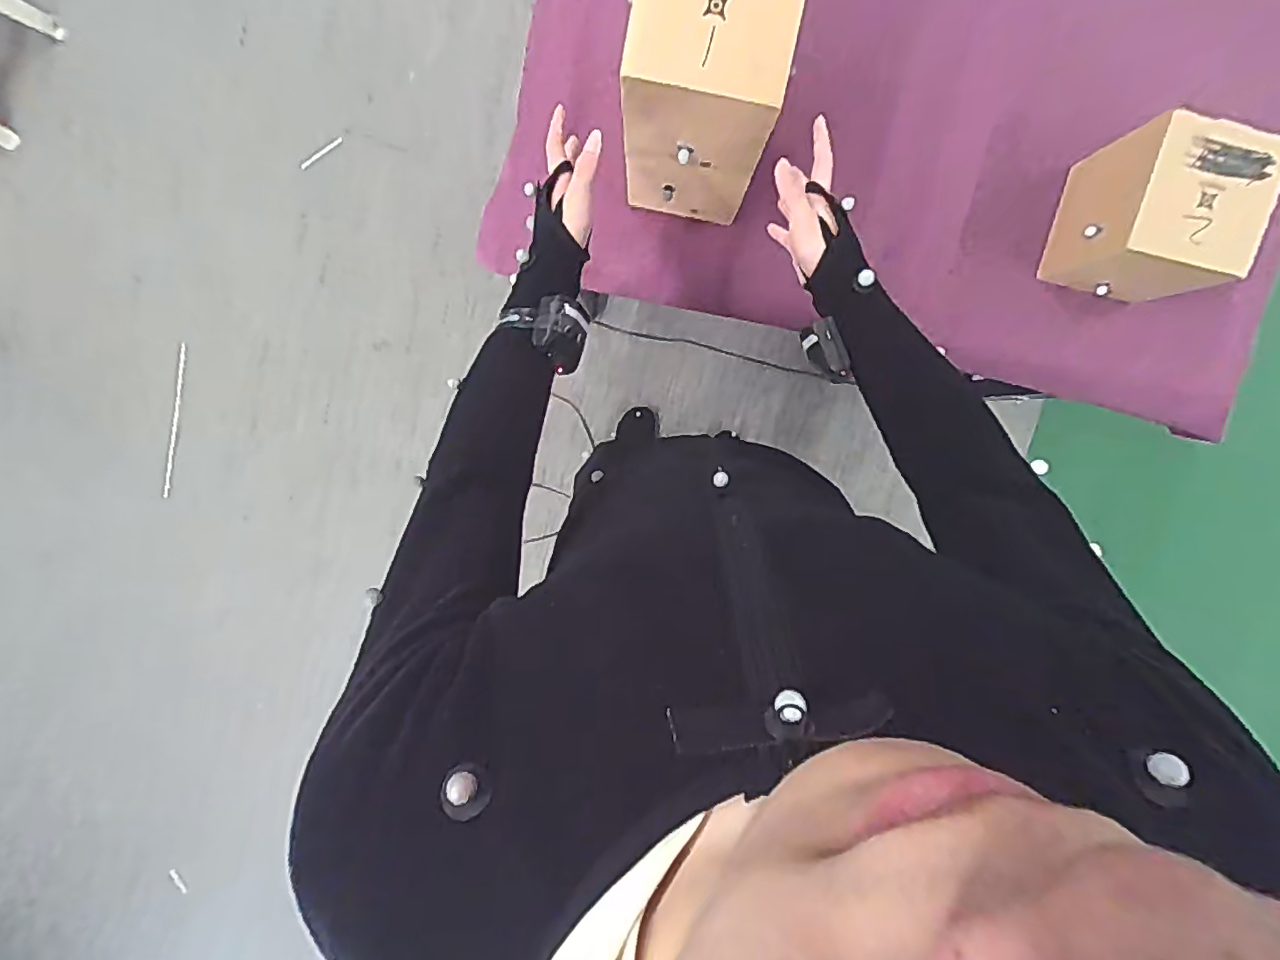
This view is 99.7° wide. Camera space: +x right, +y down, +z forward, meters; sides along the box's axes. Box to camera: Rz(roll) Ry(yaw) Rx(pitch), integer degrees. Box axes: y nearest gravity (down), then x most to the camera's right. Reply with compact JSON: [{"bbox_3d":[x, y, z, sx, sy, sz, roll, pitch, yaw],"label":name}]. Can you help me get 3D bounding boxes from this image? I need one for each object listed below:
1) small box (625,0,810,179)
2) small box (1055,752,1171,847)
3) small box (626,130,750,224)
[{"bbox_3d":[0.080,-0.473,0.598,0.168,0.176,0.179,11,96,-1],"label":"small box"},{"bbox_3d":[1.427,0.961,1.643,0.179,0.176,0.168,15,96,-1],"label":"small box"},{"bbox_3d":[0.080,-0.488,0.762,0.168,0.176,0.179,11,95,-1],"label":"small box"}]
